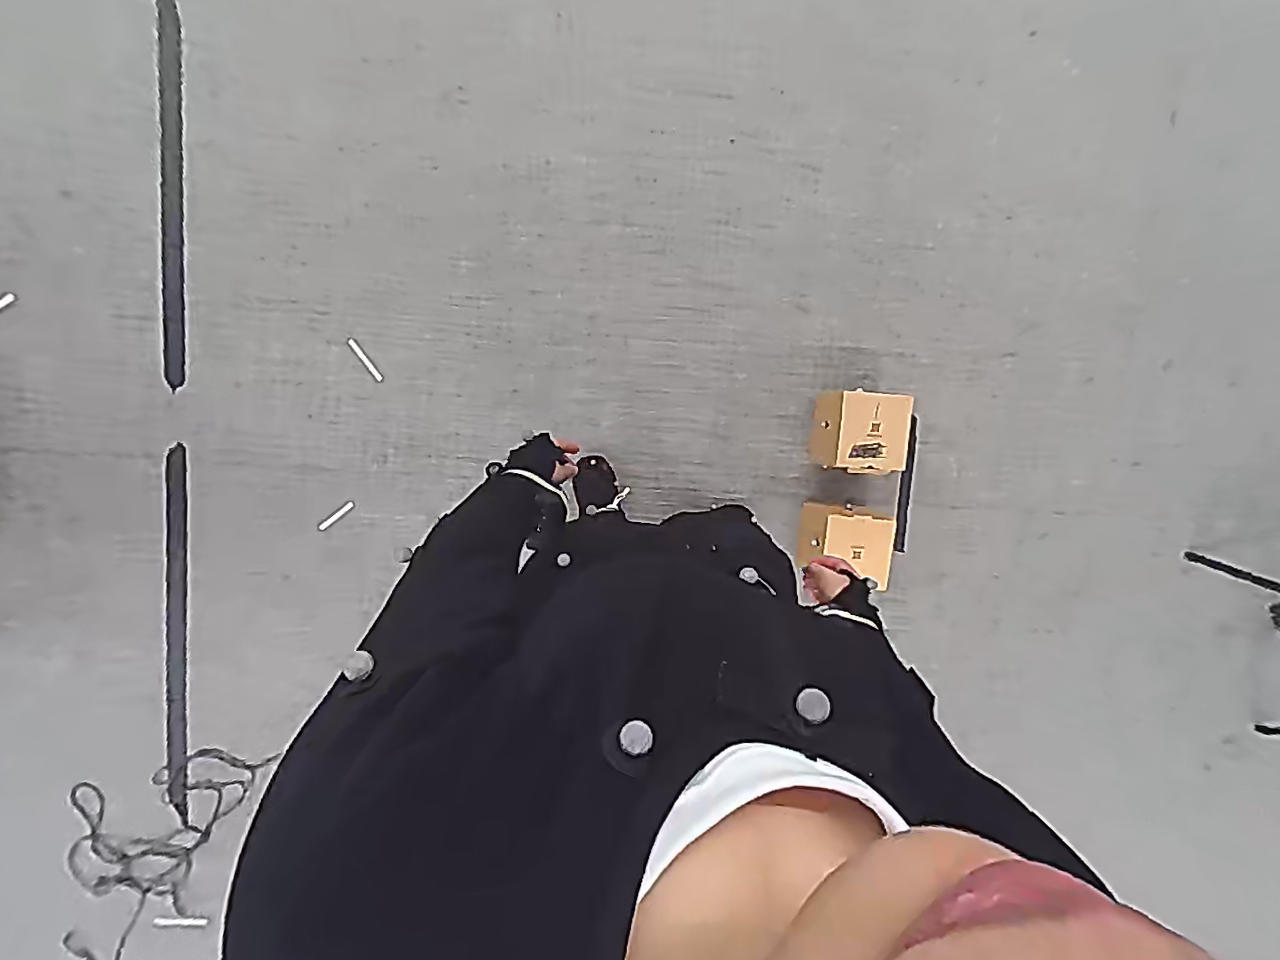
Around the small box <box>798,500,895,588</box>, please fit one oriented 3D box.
[{"bbox_3d":[0.508,0.156,1.354,0.168,0.176,0.179,5,96,-3],"label":"small box"}]

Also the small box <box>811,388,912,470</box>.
[{"bbox_3d":[0.531,-0.125,1.319,0.168,0.176,0.179,4,96,-3],"label":"small box"}]
